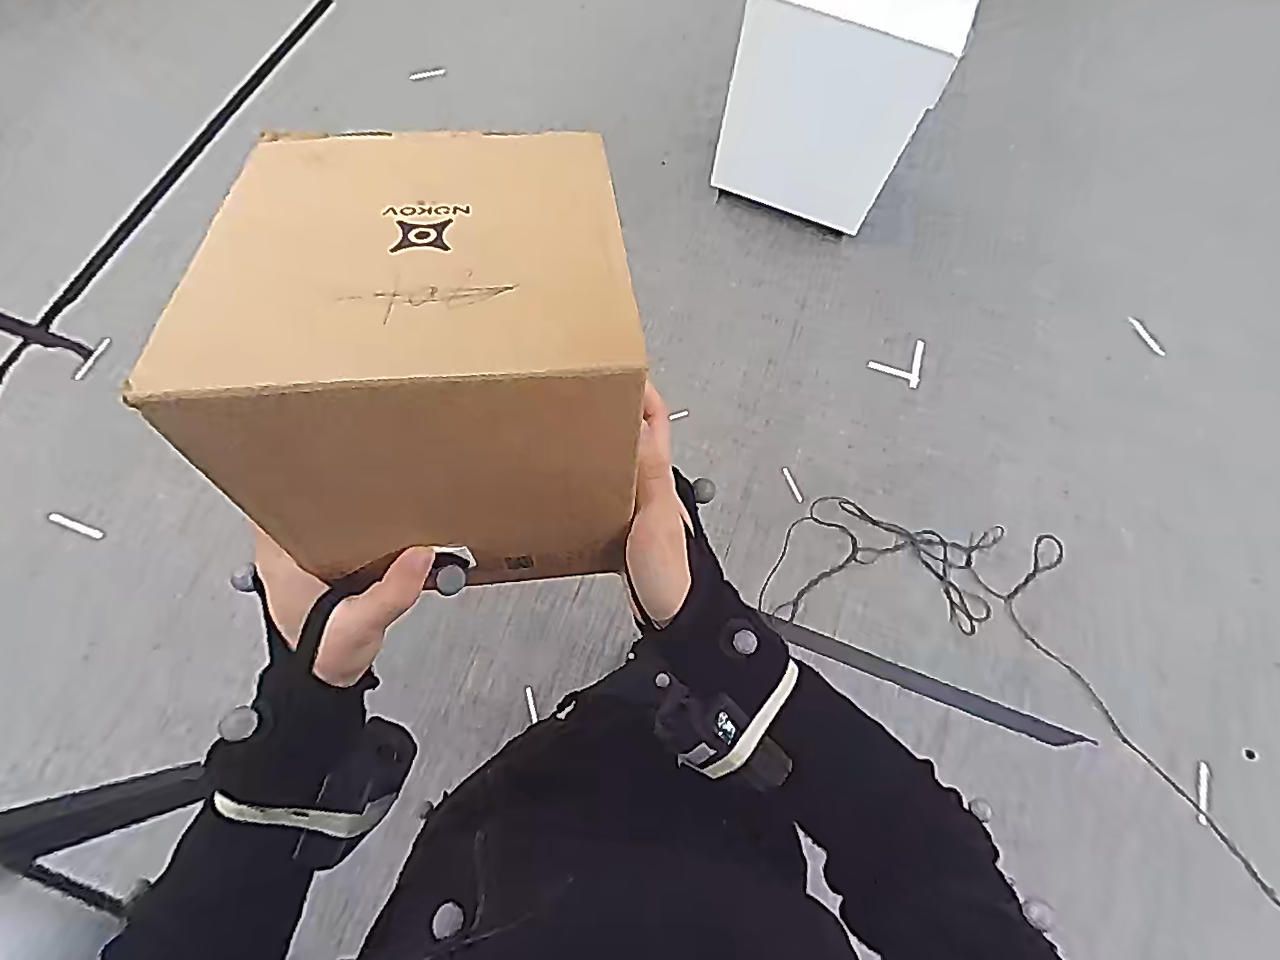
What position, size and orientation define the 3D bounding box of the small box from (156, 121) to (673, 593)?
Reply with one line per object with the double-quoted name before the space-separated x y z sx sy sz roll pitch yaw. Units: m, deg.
"small box" -0.085 -0.060 0.287 0.168 0.176 0.179 -6 56 -7
